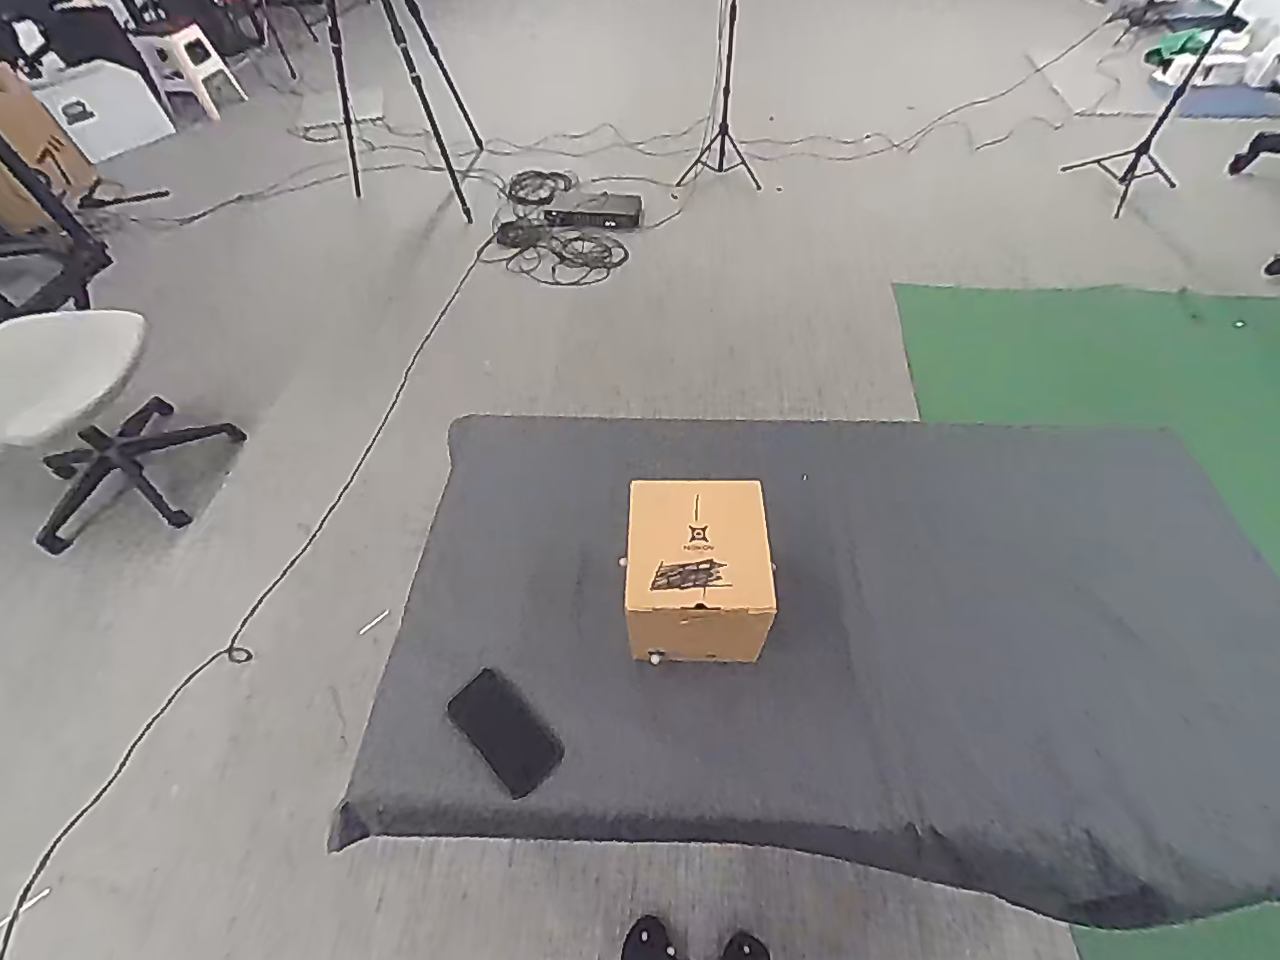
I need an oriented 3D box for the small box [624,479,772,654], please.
[{"bbox_3d":[0.071,0.116,0.702,0.168,0.176,0.179,1,53,2],"label":"small box"}]
